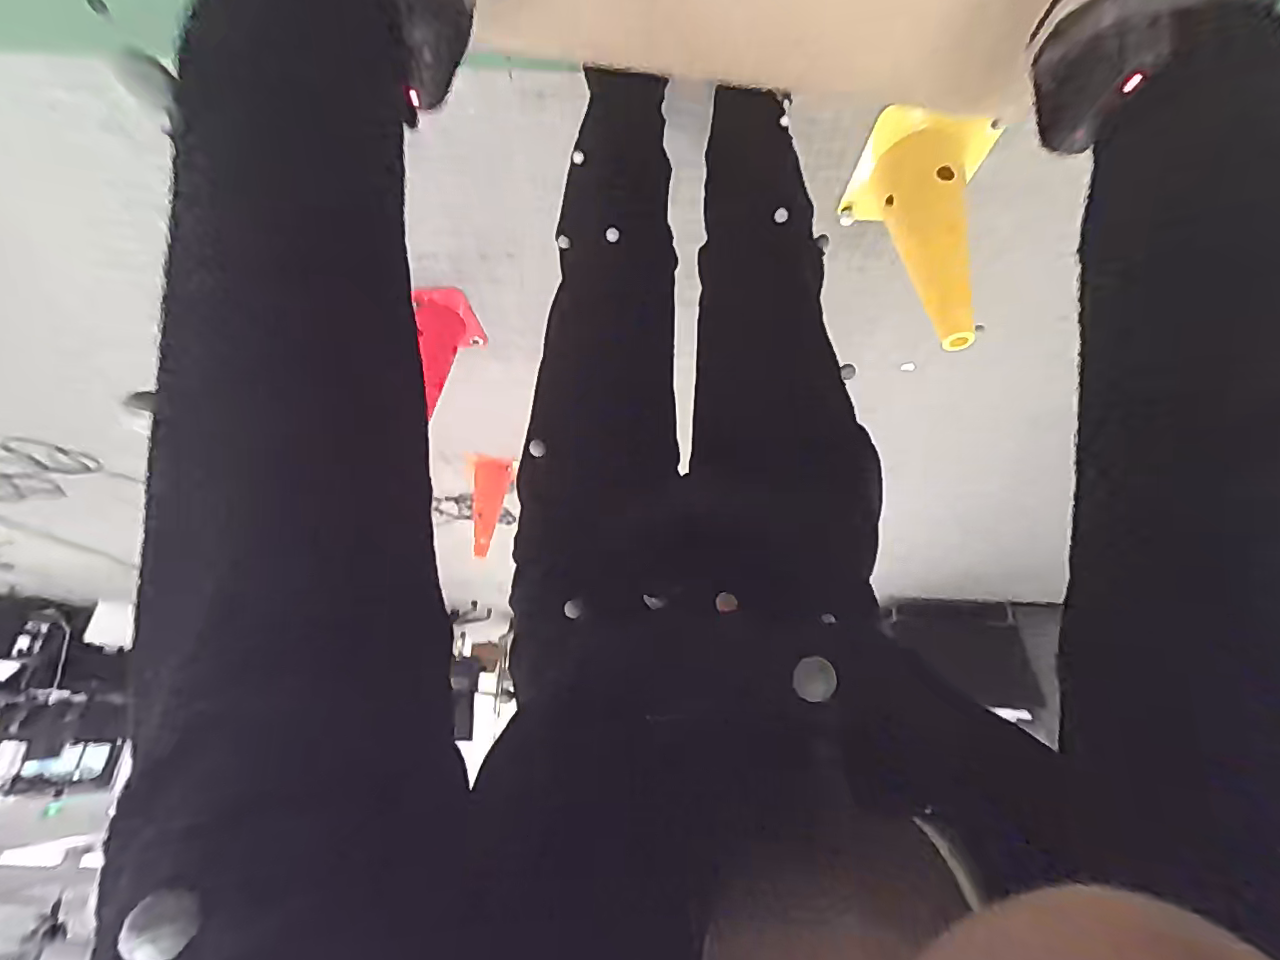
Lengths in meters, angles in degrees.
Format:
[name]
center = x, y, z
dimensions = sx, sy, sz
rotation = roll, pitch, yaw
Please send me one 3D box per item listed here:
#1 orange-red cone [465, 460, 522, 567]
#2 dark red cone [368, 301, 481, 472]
[orange-red cone]
center = -0.558, 0.135, 1.943
dimensions = 0.199, 0.360, 0.198
rotation = 12, 152, -17
[dark red cone]
center = -0.500, -0.196, 1.177
dimensions = 0.202, 0.394, 0.201
rotation = -1, 152, 8
